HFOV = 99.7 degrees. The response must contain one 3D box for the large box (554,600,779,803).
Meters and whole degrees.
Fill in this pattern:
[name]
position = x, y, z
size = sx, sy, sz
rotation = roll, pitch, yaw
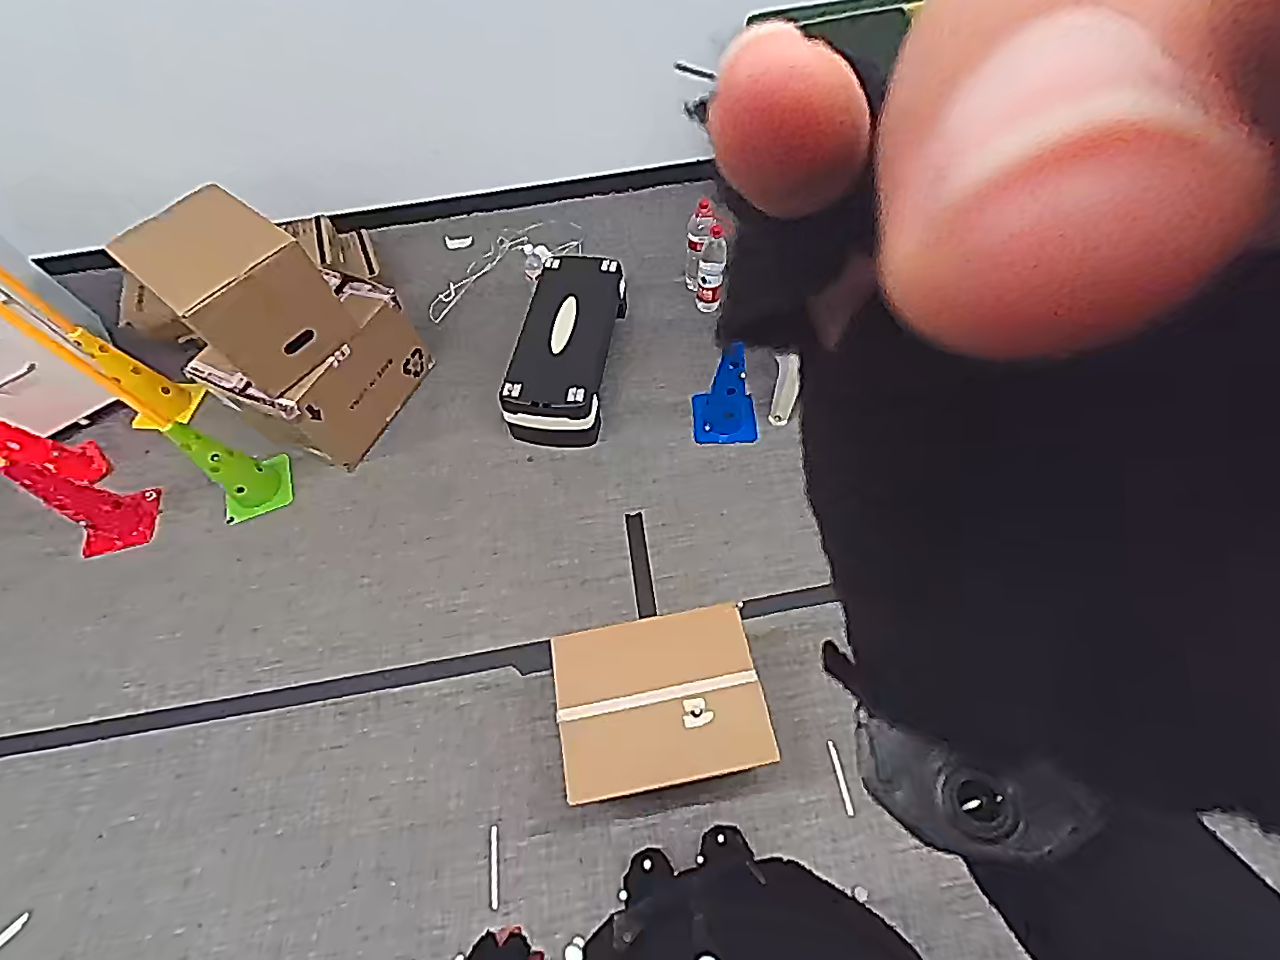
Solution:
[large box]
position = 0.045, 0.500, 1.205
size = 0.408, 0.320, 0.320
rotation = -10, 61, -4
